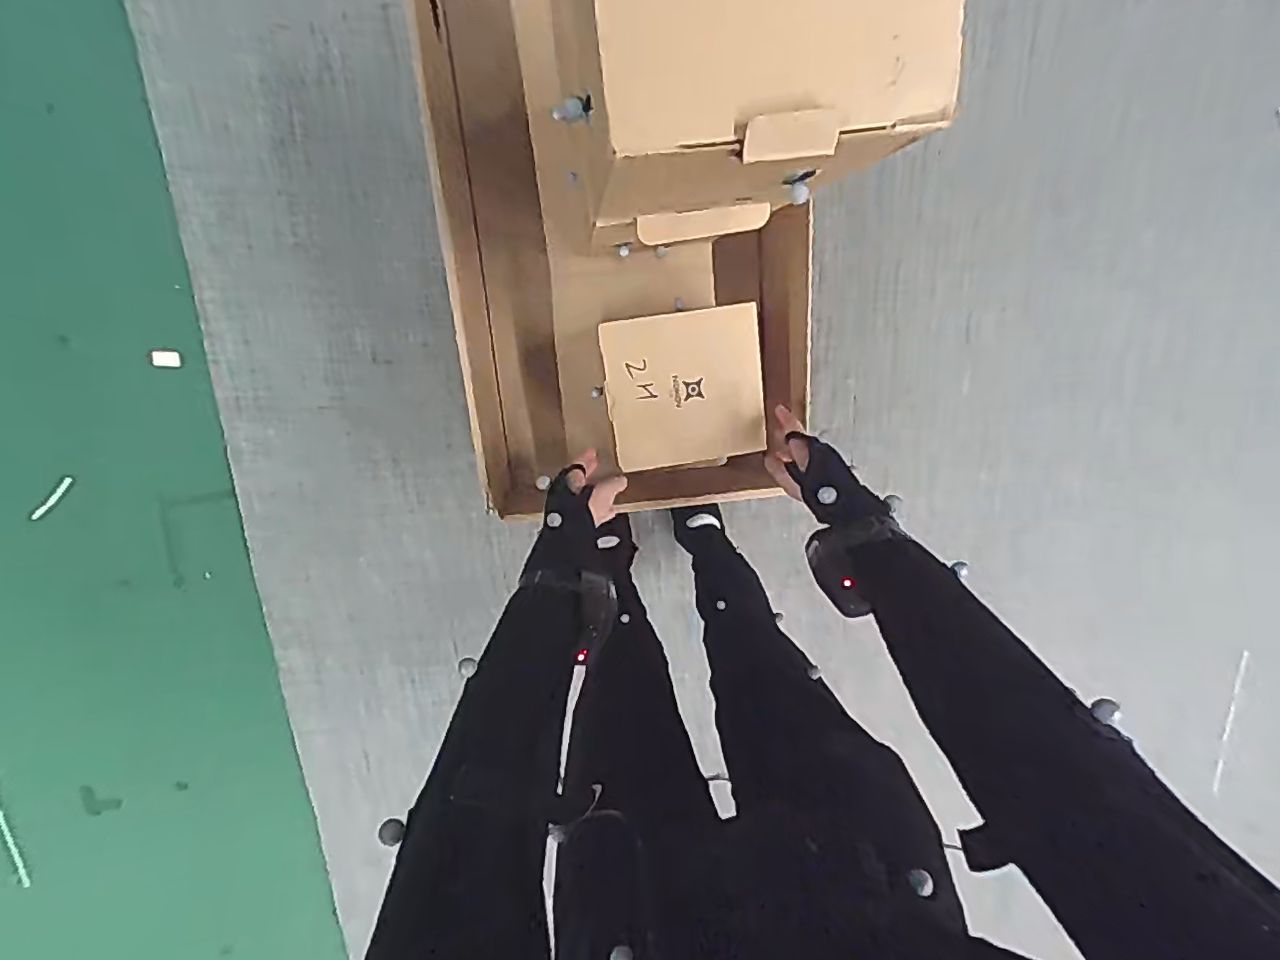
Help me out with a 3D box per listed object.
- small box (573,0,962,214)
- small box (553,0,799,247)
[{"bbox_3d":[0.050,-0.256,0.300,0.168,0.176,0.179,-8,107,-5],"label":"small box"},{"bbox_3d":[0.025,-0.302,0.455,0.168,0.176,0.179,-10,107,-3],"label":"small box"}]
